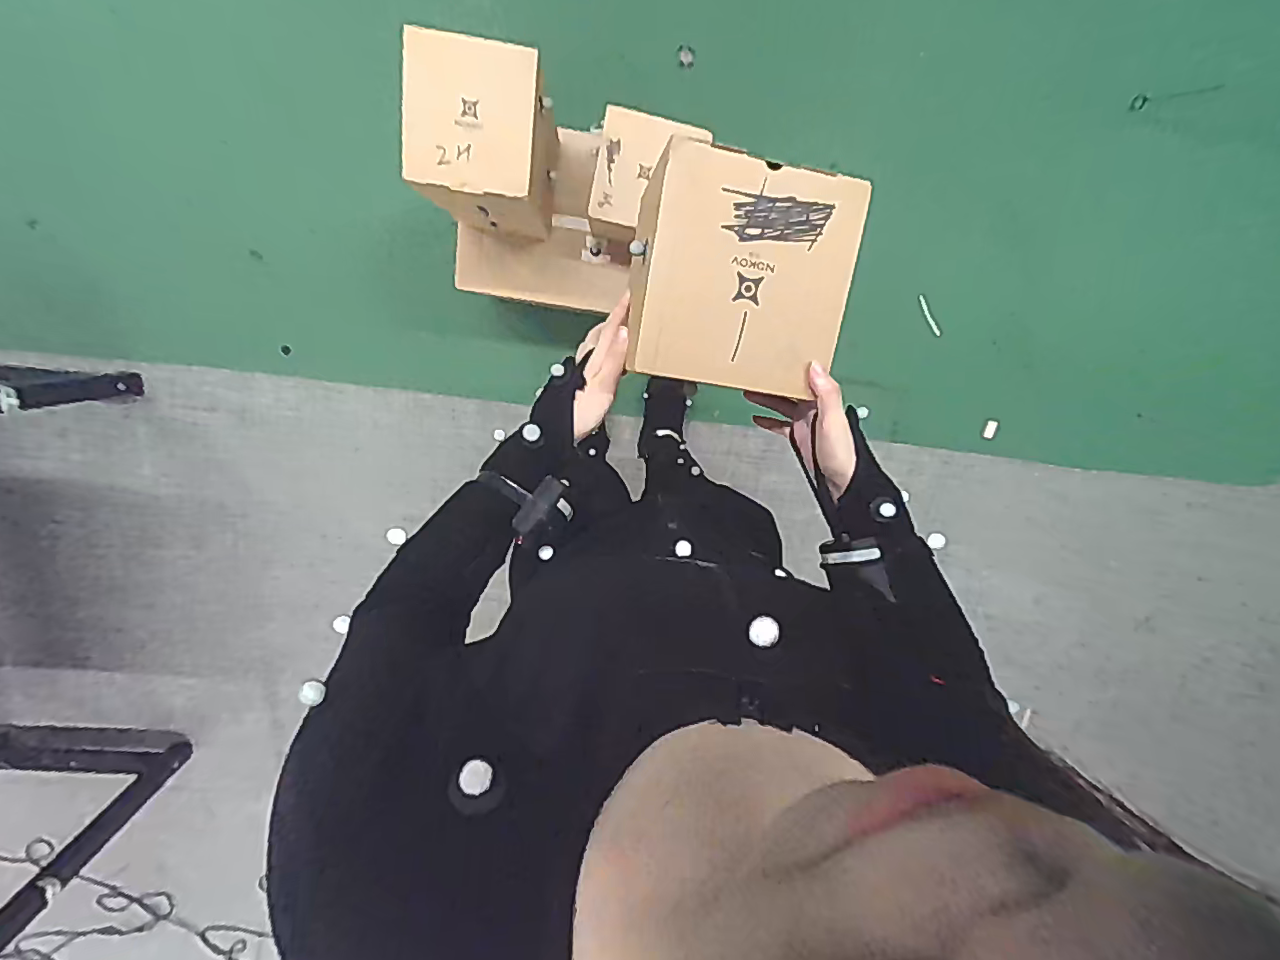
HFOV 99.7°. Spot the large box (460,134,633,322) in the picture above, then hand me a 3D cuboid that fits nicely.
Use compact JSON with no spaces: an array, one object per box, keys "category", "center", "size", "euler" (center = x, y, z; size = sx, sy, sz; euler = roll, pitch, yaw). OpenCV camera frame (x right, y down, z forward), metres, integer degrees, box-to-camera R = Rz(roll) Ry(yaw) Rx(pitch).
[{"category":"large box","center":[-0.147,-0.523,1.176],"size":[0.408,0.320,0.320],"euler":[7,105,-6]}]

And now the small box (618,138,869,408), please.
[{"category":"small box","center":[0.076,-0.172,0.501],"size":[0.168,0.176,0.179],"euler":[9,101,-8]}]

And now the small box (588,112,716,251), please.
[{"category":"small box","center":[0.014,-0.495,0.938],"size":[0.179,0.176,0.168],"euler":[12,103,-6]}]

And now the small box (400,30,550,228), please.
[{"category":"small box","center":[-0.222,-0.476,0.762],"size":[0.168,0.176,0.179],"euler":[7,104,-5]}]

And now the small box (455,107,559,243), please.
[{"category":"small box","center":[-0.233,-0.522,0.921],"size":[0.168,0.176,0.179],"euler":[7,104,-6]}]
